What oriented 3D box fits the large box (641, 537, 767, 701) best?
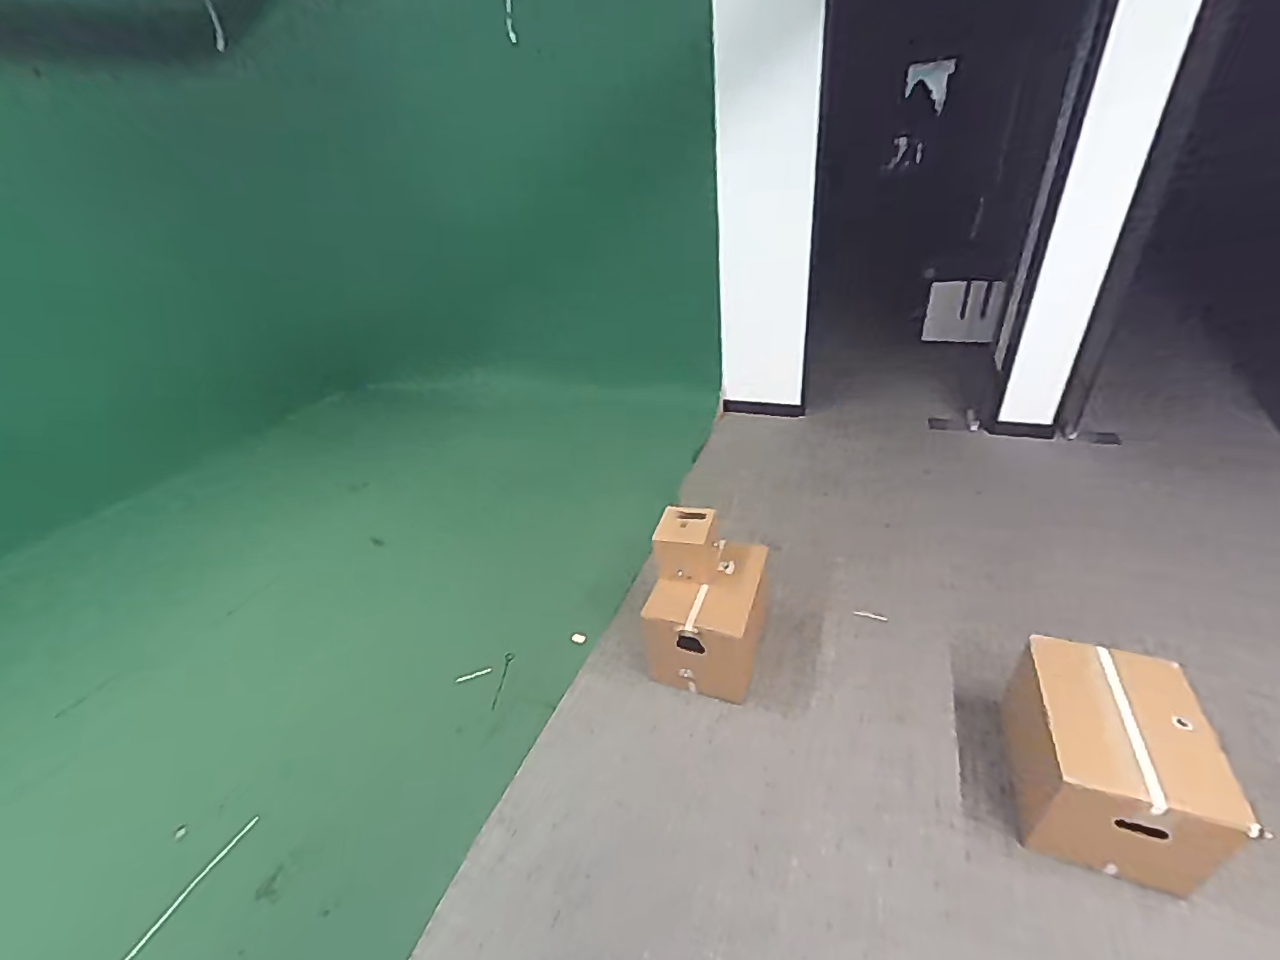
[{"bbox_3d":[0.231,0.447,1.793,0.320,0.320,0.408,7,35,22],"label":"large box"}]
